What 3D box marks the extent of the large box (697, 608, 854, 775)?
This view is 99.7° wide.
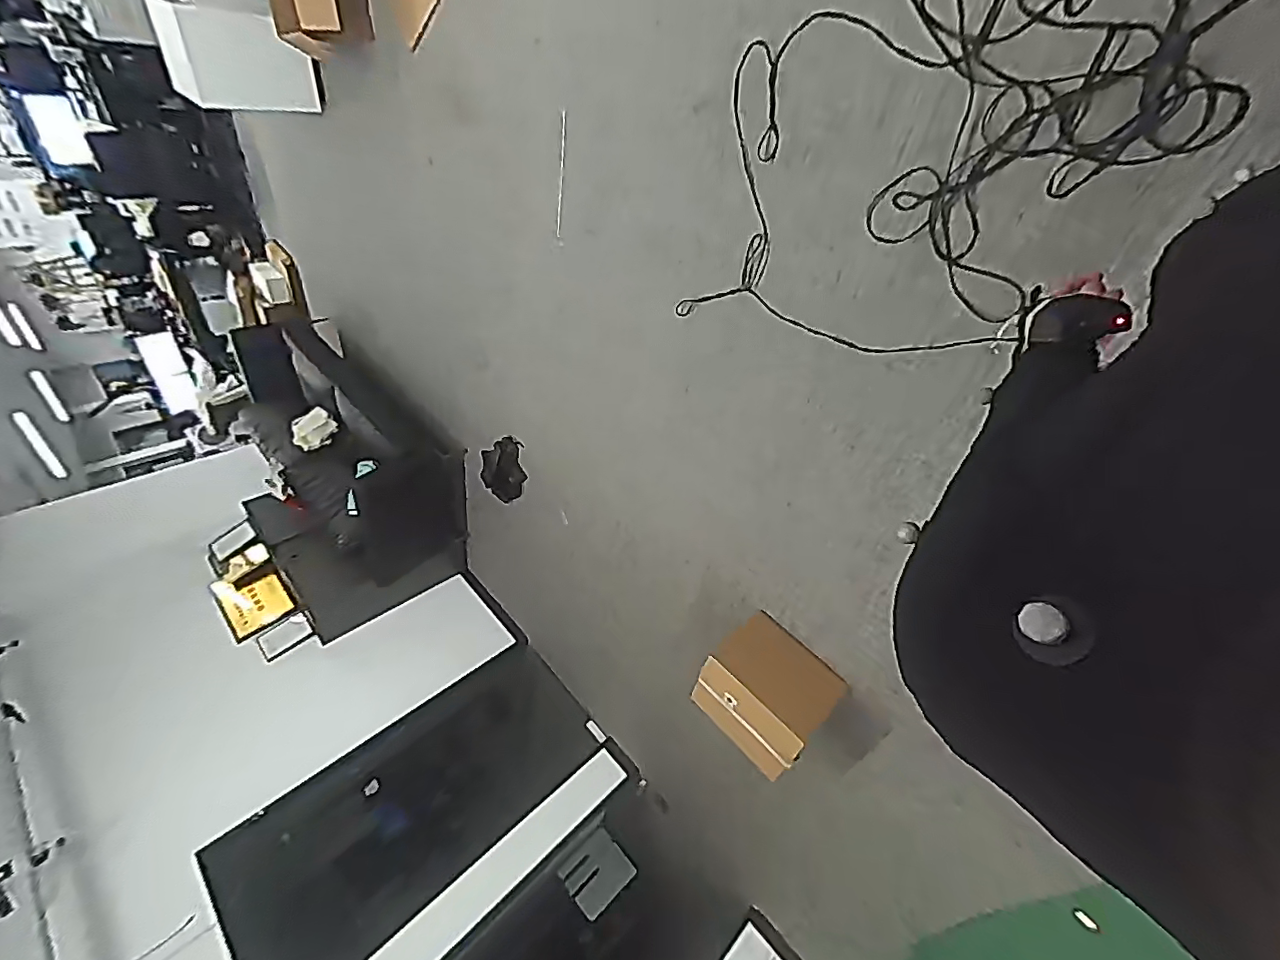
[{"bbox_3d":[0.482,0.754,1.960,0.408,0.320,0.320,40,138,29],"label":"large box"}]
